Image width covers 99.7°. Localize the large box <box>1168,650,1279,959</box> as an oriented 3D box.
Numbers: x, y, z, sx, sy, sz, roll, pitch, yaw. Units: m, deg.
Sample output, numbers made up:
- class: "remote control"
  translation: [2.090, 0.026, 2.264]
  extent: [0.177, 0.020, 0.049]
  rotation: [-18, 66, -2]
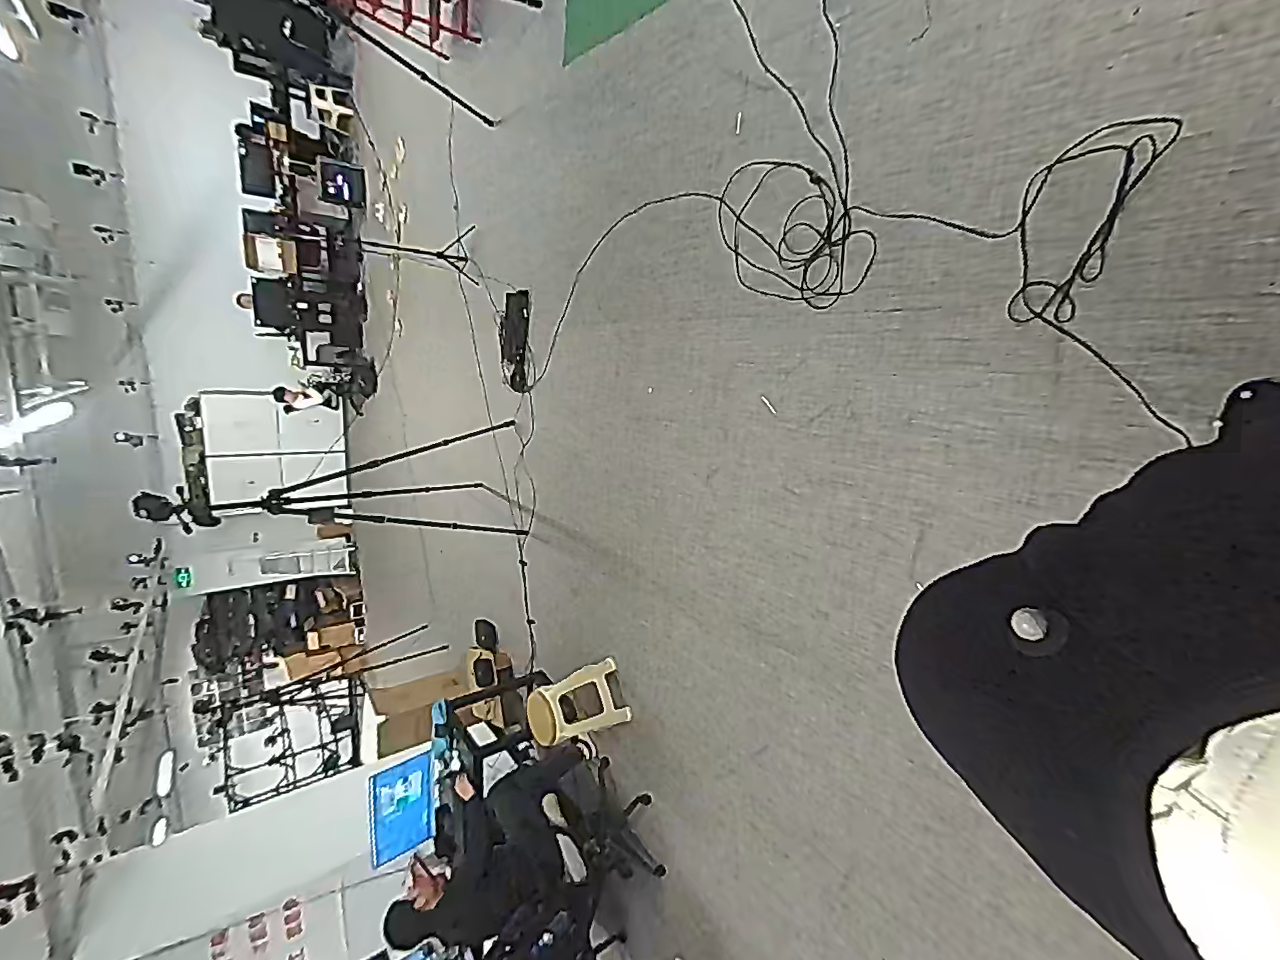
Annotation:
- class: "large box"
  translation: [1.129, 0.536, 0.841]
  extent: [0.320, 0.320, 0.408]
  rotation: [30, 117, 46]
